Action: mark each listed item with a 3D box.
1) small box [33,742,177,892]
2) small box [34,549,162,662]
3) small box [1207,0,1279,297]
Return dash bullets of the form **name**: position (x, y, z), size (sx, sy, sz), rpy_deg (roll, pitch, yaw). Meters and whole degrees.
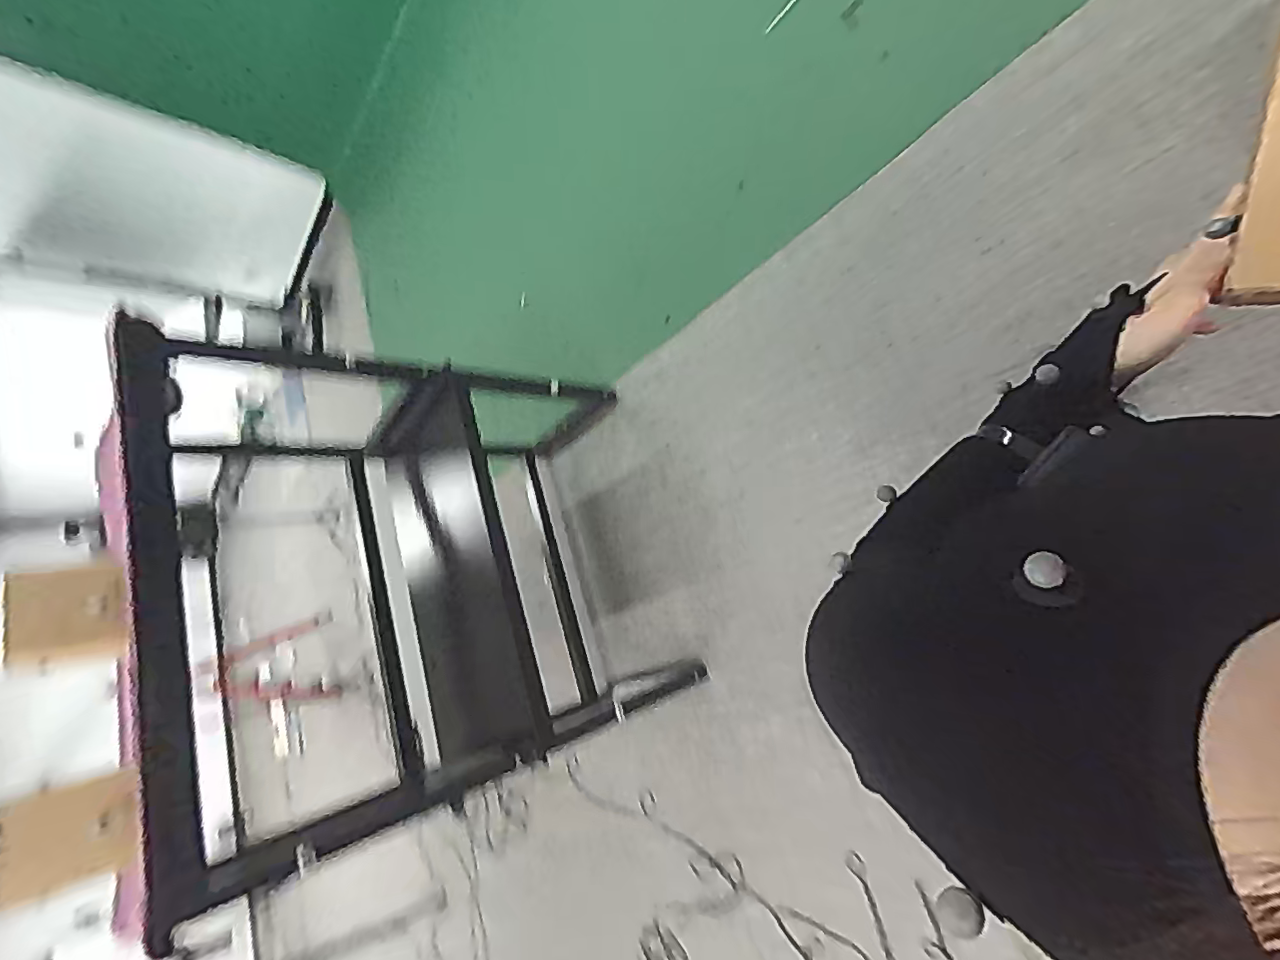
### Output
- **small box**: position (-0.930, 0.578, 0.950), size (0.179, 0.176, 0.168), rpy_deg (-32, 70, 42)
- **small box**: position (-1.054, 0.243, 1.057), size (0.179, 0.176, 0.168), rpy_deg (-30, 72, 40)
- **small box**: position (0.457, -0.204, 0.308), size (0.168, 0.176, 0.179), rpy_deg (10, 110, 43)
